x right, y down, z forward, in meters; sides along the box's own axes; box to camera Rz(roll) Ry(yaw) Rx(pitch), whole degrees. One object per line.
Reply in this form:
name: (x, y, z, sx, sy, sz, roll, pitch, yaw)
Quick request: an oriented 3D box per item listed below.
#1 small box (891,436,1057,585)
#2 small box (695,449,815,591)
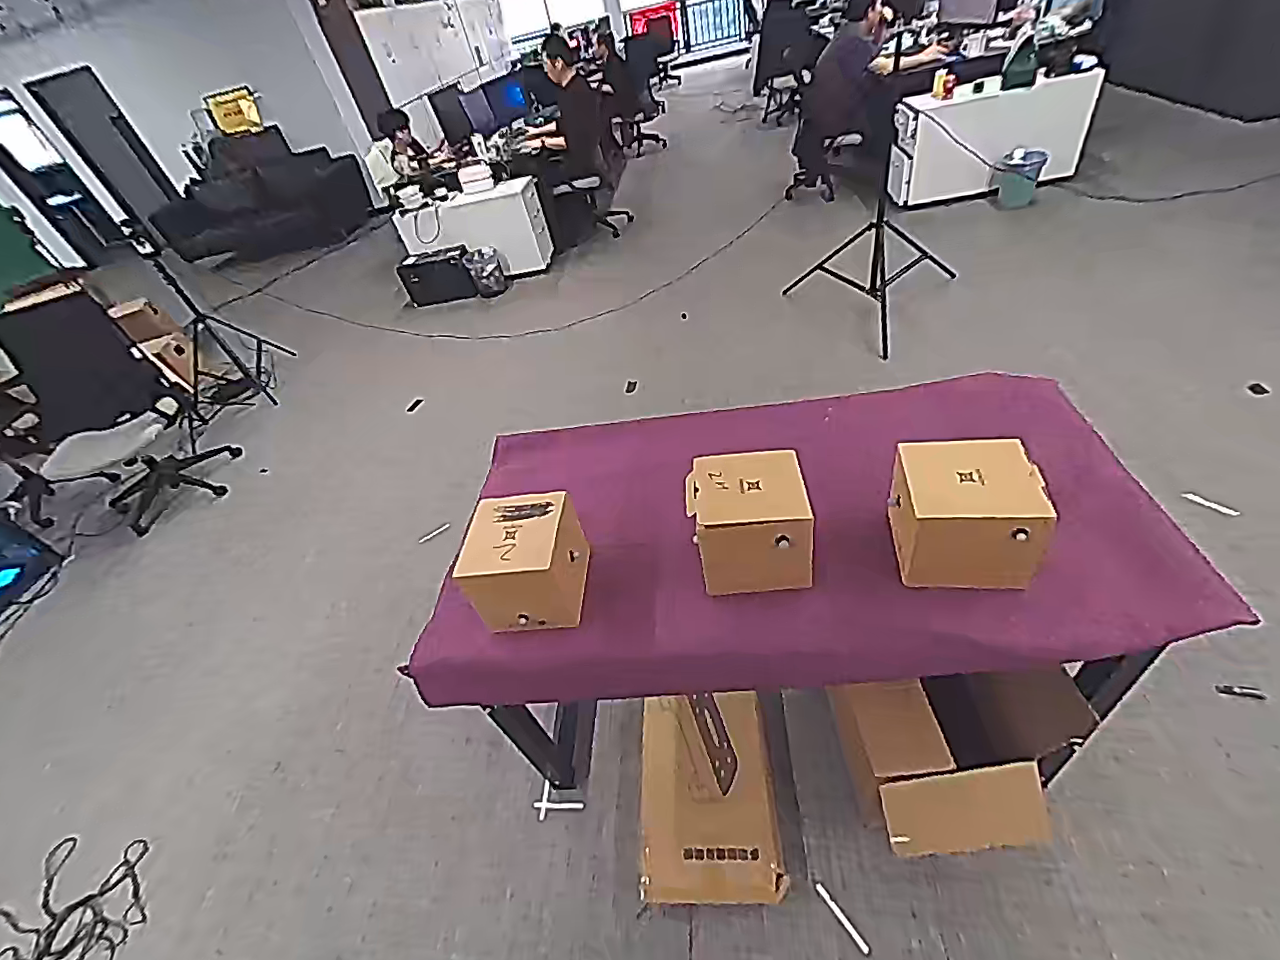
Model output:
small box: (0.501, 0.051, 0.846, 0.179, 0.176, 0.168, -2, 44, 14)
small box: (0.190, 0.070, 0.914, 0.179, 0.176, 0.168, -7, 40, 9)
